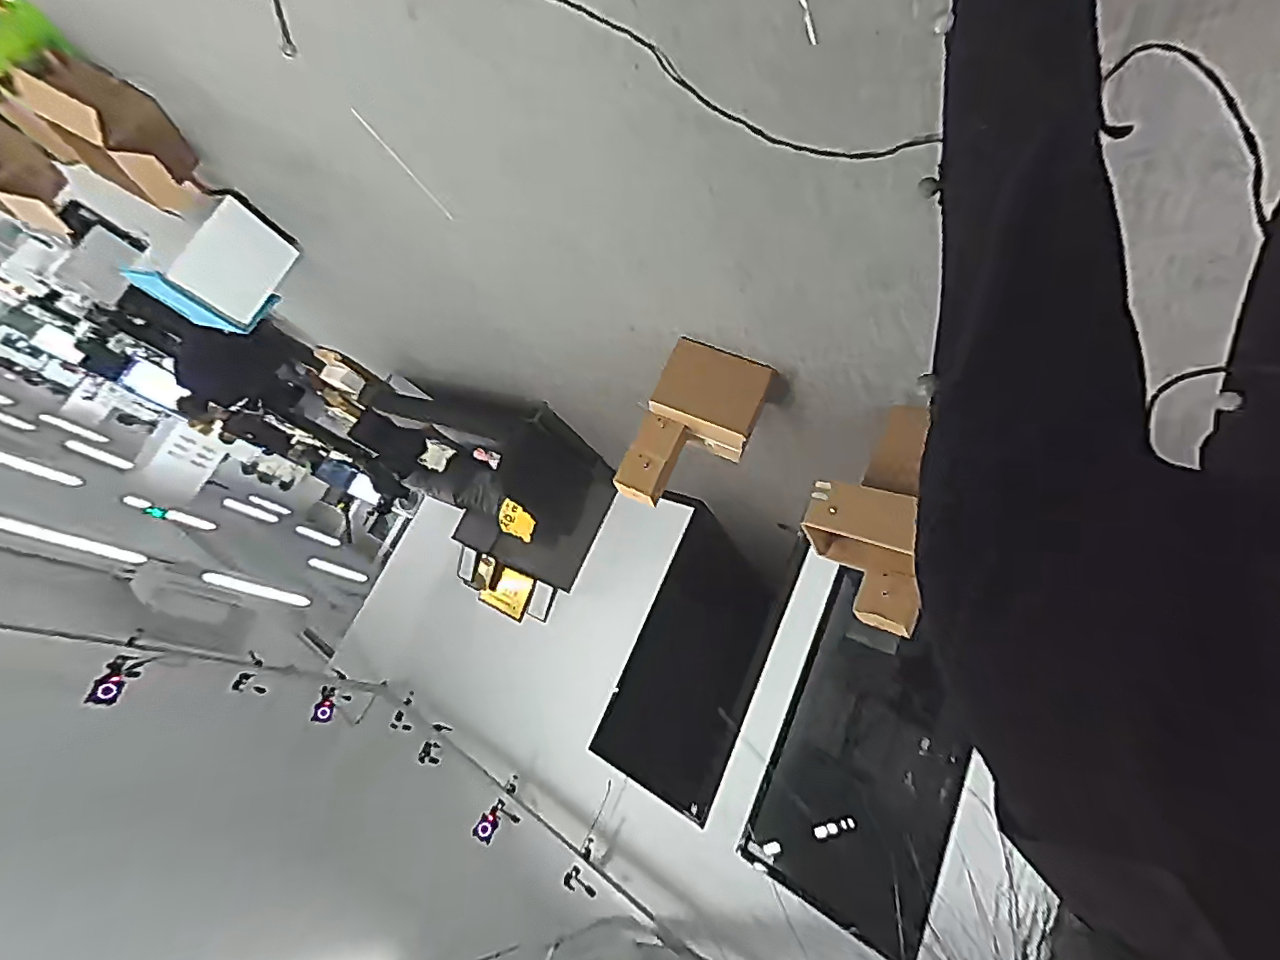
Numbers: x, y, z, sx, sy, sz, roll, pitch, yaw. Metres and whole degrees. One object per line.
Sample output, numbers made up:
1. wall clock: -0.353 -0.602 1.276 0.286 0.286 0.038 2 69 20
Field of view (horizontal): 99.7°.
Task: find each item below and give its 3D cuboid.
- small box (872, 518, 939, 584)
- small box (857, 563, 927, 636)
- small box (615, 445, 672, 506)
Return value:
1. small box: 0.914 0.252 1.854 0.168 0.176 0.179 15 162 35
2. small box: 0.848 0.396 1.811 0.168 0.176 0.179 15 162 37
3. small box: 0.023 -0.018 2.203 0.168 0.176 0.179 21 166 16
